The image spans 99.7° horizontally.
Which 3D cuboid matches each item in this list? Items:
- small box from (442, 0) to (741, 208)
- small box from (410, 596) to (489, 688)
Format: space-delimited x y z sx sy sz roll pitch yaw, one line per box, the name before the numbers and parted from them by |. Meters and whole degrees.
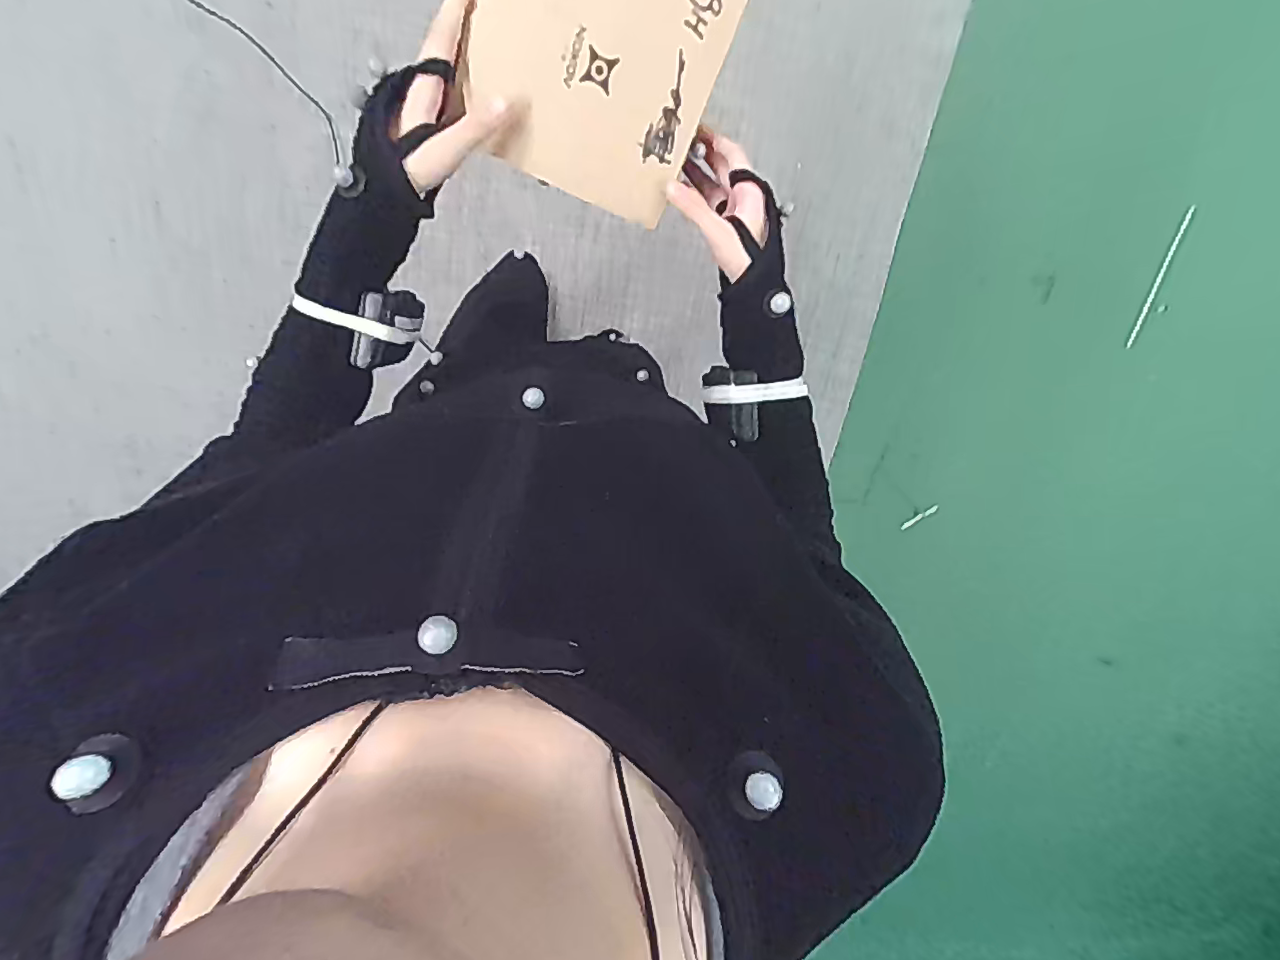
small box | -0.033 -0.348 0.439 0.179 0.176 0.168 20 122 -11
small box | -0.552 0.470 1.584 0.168 0.176 0.179 17 107 -12
